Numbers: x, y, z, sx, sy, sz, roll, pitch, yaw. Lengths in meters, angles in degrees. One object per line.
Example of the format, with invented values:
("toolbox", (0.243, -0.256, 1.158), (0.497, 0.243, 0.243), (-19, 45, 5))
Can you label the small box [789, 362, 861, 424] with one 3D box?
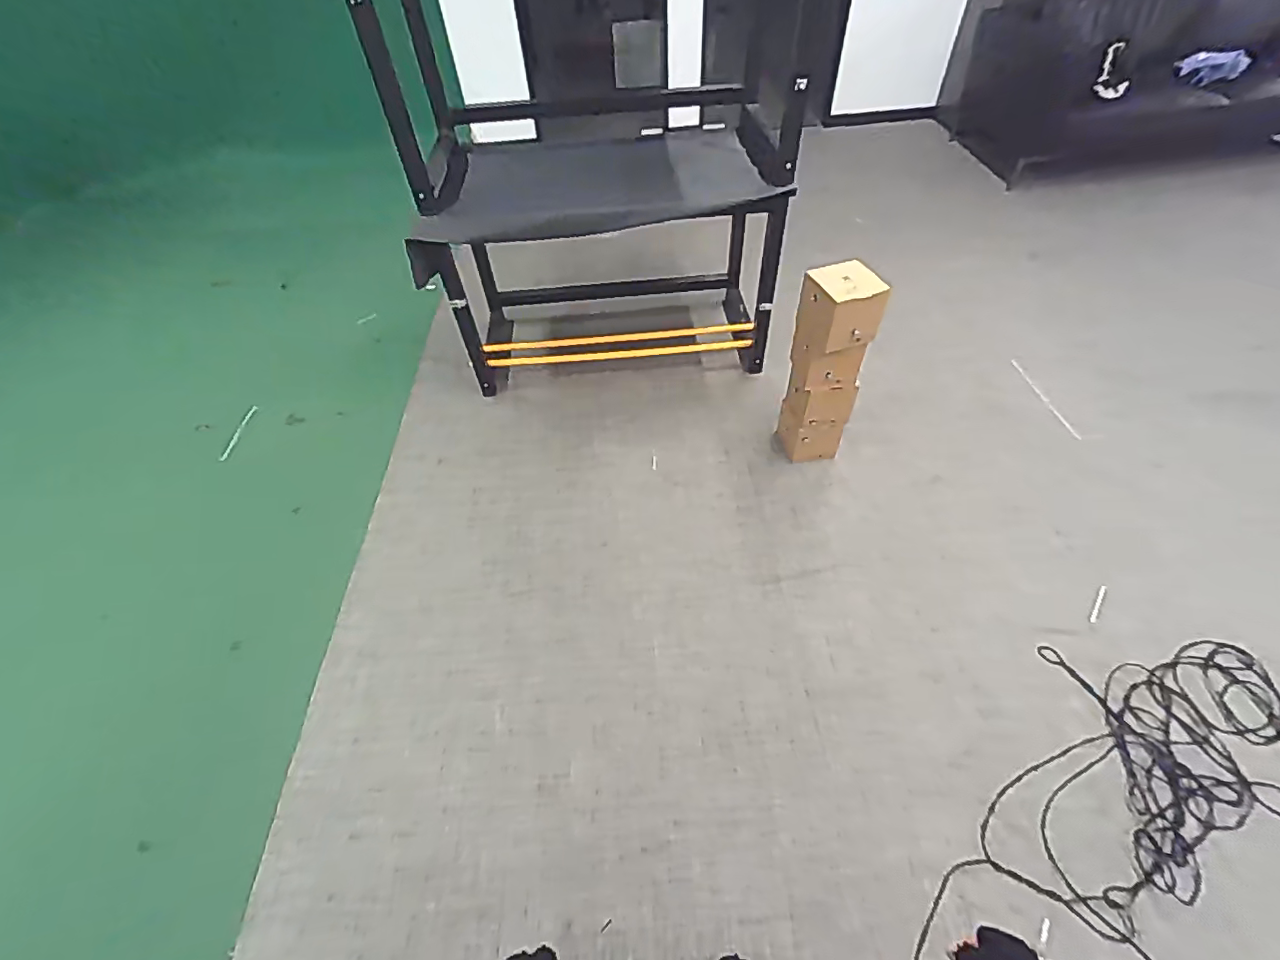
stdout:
("small box", (0.611, -0.300, 1.802), (0.168, 0.176, 0.179), (-7, 49, -2))

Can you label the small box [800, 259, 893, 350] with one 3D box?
("small box", (0.580, -0.500, 1.546), (0.168, 0.176, 0.179), (-16, 51, -8))

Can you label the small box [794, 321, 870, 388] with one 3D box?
("small box", (0.588, -0.409, 1.683), (0.168, 0.176, 0.179), (-6, 50, 0))
